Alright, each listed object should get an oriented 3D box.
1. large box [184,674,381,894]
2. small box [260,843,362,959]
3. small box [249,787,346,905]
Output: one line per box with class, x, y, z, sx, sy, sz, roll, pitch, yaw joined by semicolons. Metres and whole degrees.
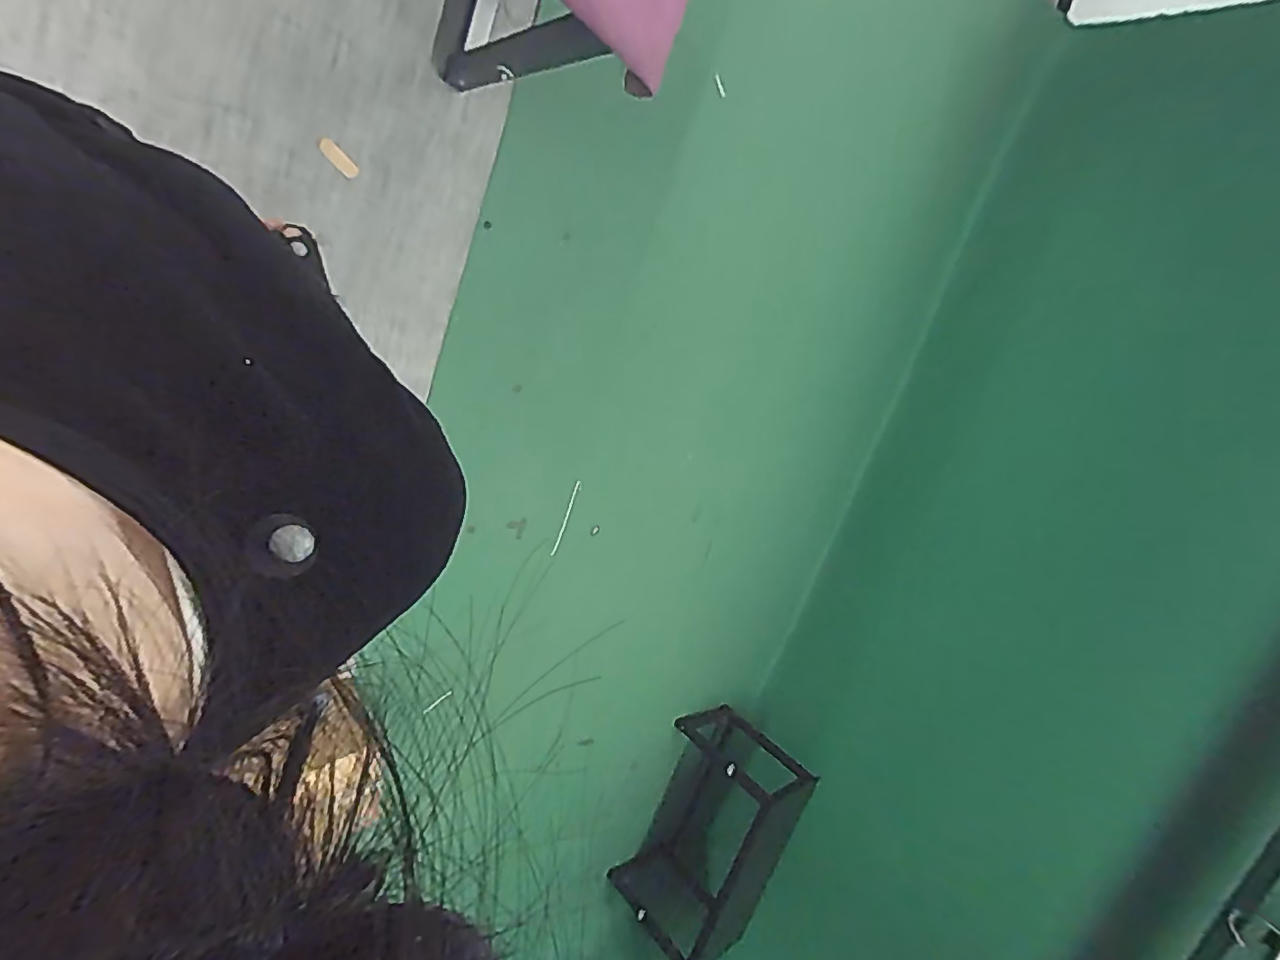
large box;-1.004;0.829;1.540;0.408;0.320;0.320;-10;120;-43
small box;-0.762;0.985;1.247;0.168;0.176;0.179;-3;112;-44
small box;-0.862;0.922;1.361;0.179;0.176;0.168;-5;114;-43
